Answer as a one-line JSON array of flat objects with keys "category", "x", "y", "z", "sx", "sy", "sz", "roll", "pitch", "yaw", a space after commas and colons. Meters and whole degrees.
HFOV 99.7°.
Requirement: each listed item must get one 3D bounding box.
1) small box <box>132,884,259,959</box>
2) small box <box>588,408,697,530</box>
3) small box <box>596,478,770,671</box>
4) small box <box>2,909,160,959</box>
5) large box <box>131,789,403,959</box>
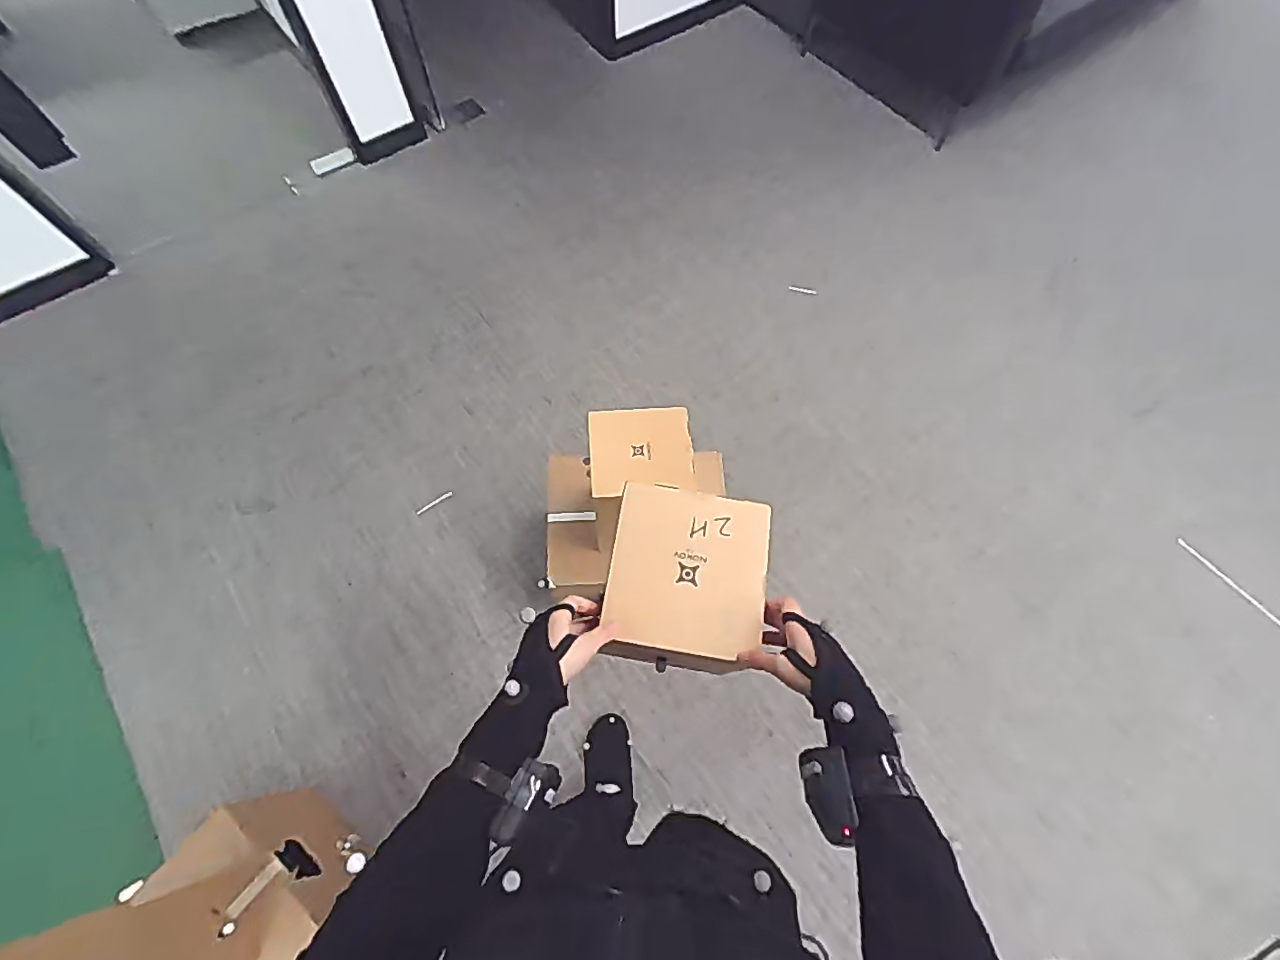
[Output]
[{"category": "small box", "x": -0.727, "y": 0.757, "z": 0.800, "sx": 0.168, "sy": 0.176, "sz": 0.179, "roll": 40, "pitch": 71, "yaw": 15}, {"category": "small box", "x": 0.001, "y": -0.015, "z": 0.981, "sx": 0.179, "sy": 0.176, "sz": 0.168, "roll": -4, "pitch": 66, "yaw": -4}, {"category": "small box", "x": 0.045, "y": 0.120, "z": 0.639, "sx": 0.168, "sy": 0.176, "sz": 0.179, "roll": 10, "pitch": 66, "yaw": -1}, {"category": "small box", "x": -0.721, "y": 0.680, "z": 0.655, "sx": 0.179, "sy": 0.176, "sz": 0.168, "roll": 42, "pitch": 72, "yaw": 16}, {"category": "large box", "x": -0.746, "y": 0.878, "z": 1.014, "sx": 0.320, "sy": 0.320, "sz": 0.408, "roll": 36, "pitch": 71, "yaw": 16}]
